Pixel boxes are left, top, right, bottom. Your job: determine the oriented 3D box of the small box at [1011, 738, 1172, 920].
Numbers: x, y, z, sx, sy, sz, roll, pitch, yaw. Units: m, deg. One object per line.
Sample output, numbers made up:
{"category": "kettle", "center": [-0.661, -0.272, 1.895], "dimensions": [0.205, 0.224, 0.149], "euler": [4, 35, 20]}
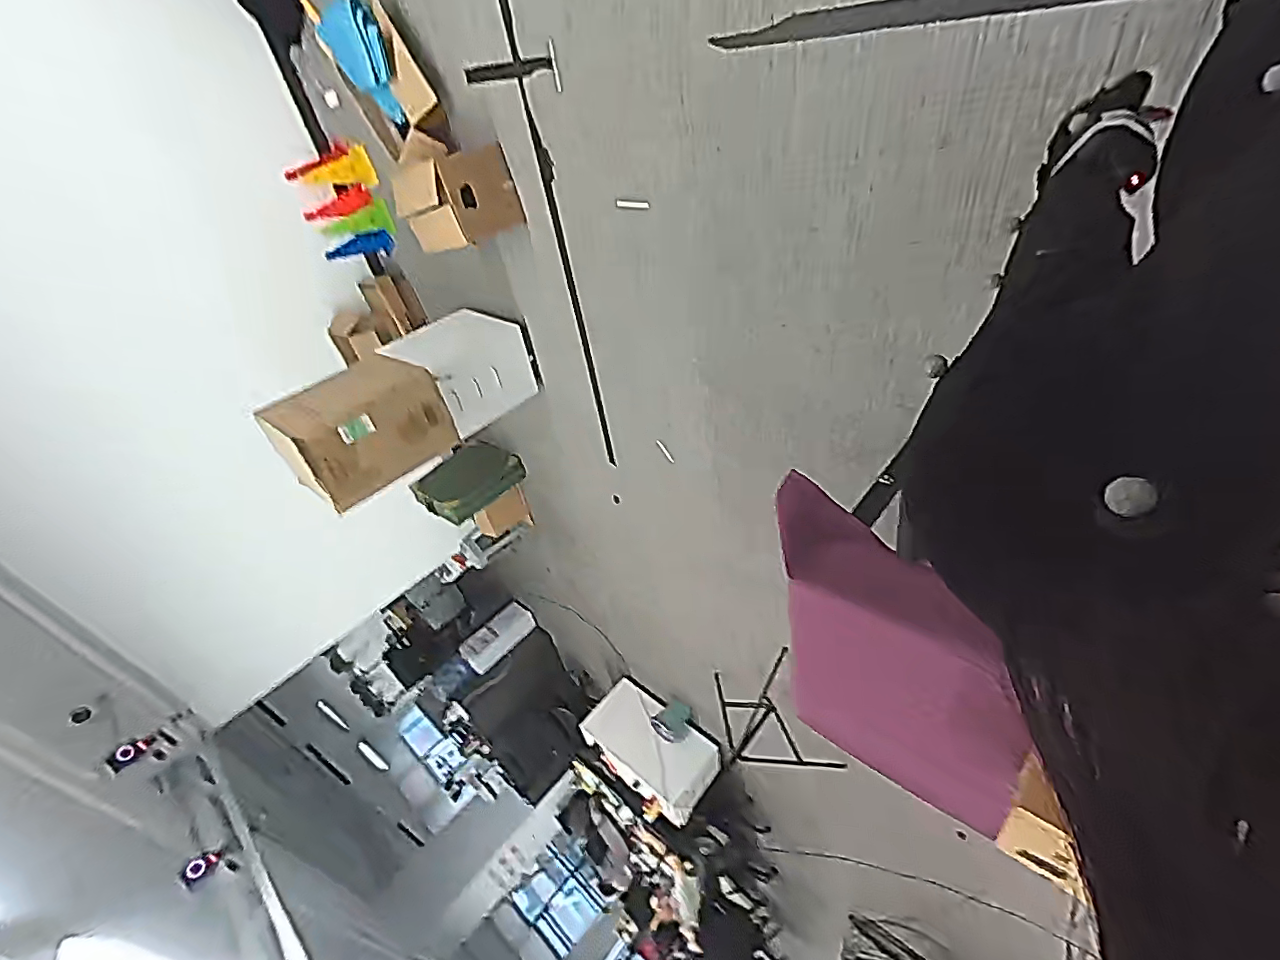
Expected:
{"category": "small box", "center": [0.782, 0.598, 0.940], "dimensions": [0.168, 0.176, 0.179], "euler": [22, 138, 39]}
